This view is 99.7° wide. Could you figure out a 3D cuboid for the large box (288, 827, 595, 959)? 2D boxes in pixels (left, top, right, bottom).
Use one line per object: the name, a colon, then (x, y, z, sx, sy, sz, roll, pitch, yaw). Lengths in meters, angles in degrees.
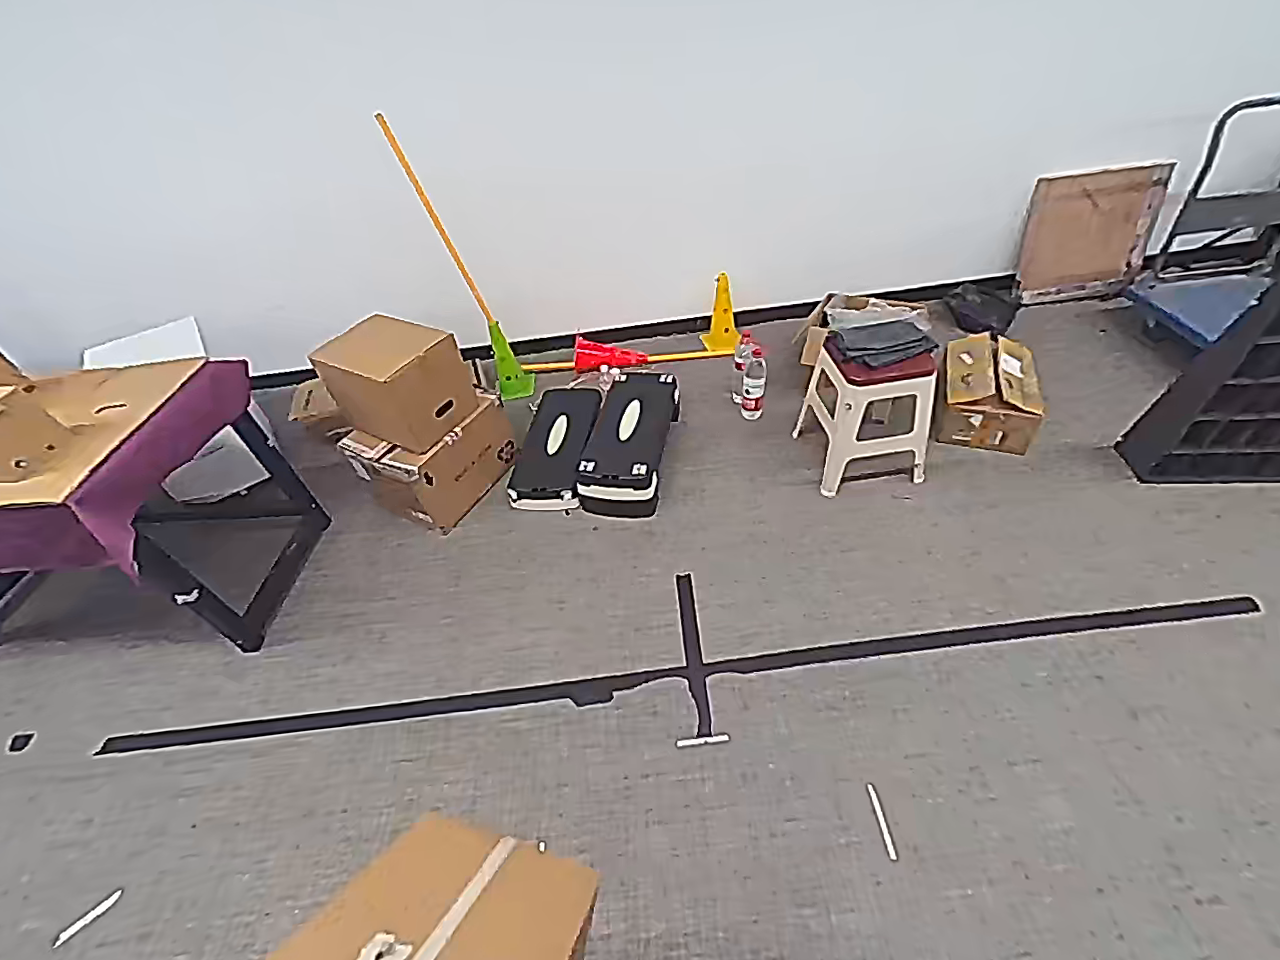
large box: (-0.280, 0.745, 0.687, 0.320, 0.408, 0.320, 10, 87, 12)
